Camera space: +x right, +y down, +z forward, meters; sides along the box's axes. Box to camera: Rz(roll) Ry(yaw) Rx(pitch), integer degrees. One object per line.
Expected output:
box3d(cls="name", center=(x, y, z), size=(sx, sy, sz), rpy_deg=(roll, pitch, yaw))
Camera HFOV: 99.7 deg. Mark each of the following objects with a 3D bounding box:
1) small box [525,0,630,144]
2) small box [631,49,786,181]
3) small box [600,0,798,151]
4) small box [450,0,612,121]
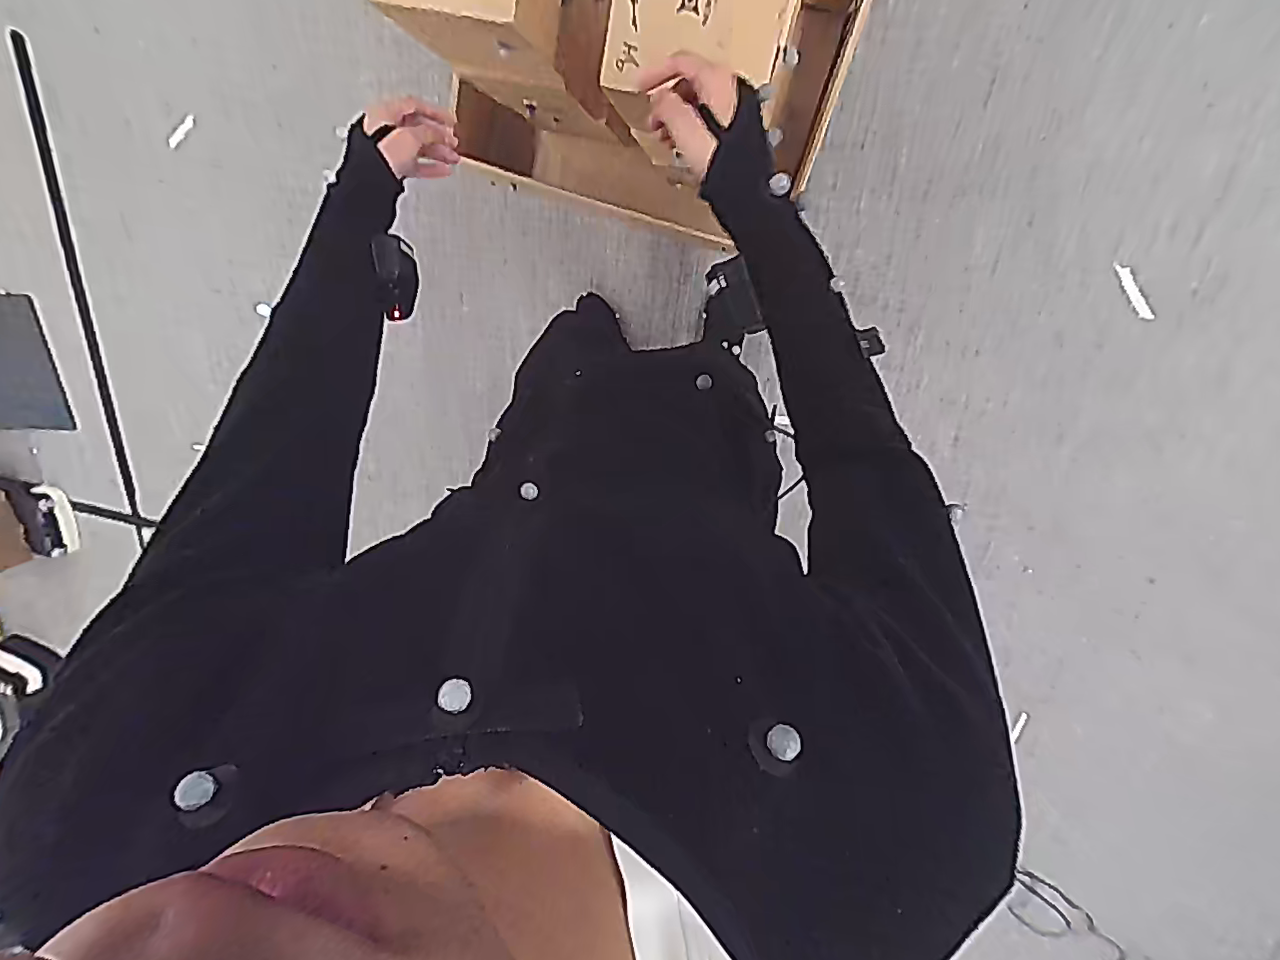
box3d(cls="small box", center=(-0.105, -0.692, 0.913), size=(0.179, 0.176, 0.168), rpy_deg=(16, 112, 5))
box3d(cls="small box", center=(0.101, -0.539, 0.751), size=(0.168, 0.176, 0.179), rpy_deg=(17, 111, 5))
box3d(cls="small box", center=(0.073, -0.486, 0.599), size=(0.179, 0.176, 0.168), rpy_deg=(15, 111, 5))
box3d(cls="small box", center=(-0.145, -0.641, 0.762), size=(0.168, 0.176, 0.179), rpy_deg=(15, 112, 8))
